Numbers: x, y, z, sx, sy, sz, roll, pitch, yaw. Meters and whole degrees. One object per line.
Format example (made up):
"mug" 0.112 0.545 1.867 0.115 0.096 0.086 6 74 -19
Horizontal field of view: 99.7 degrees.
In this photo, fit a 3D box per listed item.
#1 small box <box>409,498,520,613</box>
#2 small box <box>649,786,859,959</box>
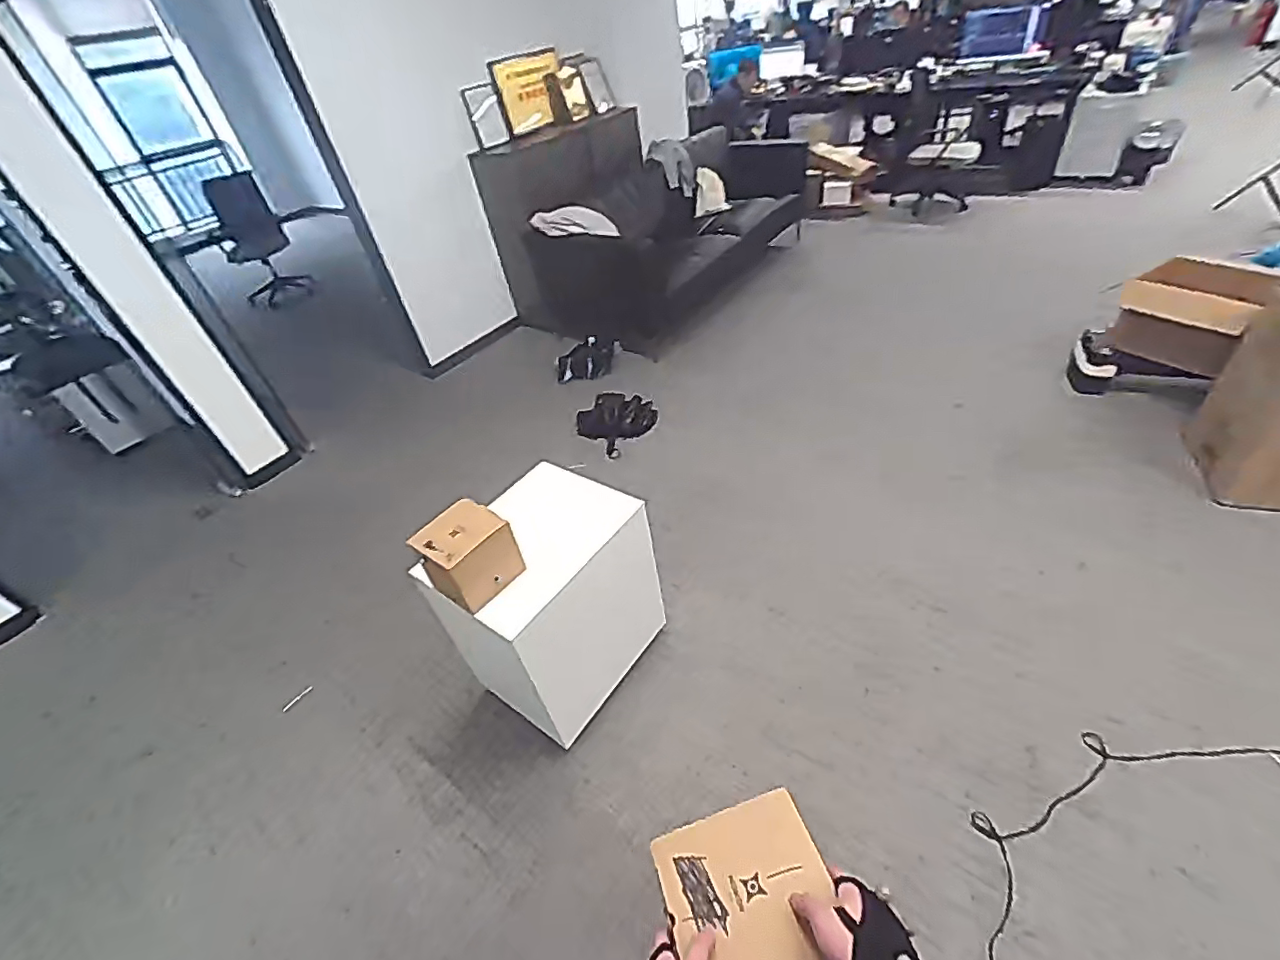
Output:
"small box" -0.407 0.178 1.290 0.168 0.176 0.179 22 48 33
"small box" 0.128 0.491 0.599 0.179 0.176 0.168 -19 29 -5
